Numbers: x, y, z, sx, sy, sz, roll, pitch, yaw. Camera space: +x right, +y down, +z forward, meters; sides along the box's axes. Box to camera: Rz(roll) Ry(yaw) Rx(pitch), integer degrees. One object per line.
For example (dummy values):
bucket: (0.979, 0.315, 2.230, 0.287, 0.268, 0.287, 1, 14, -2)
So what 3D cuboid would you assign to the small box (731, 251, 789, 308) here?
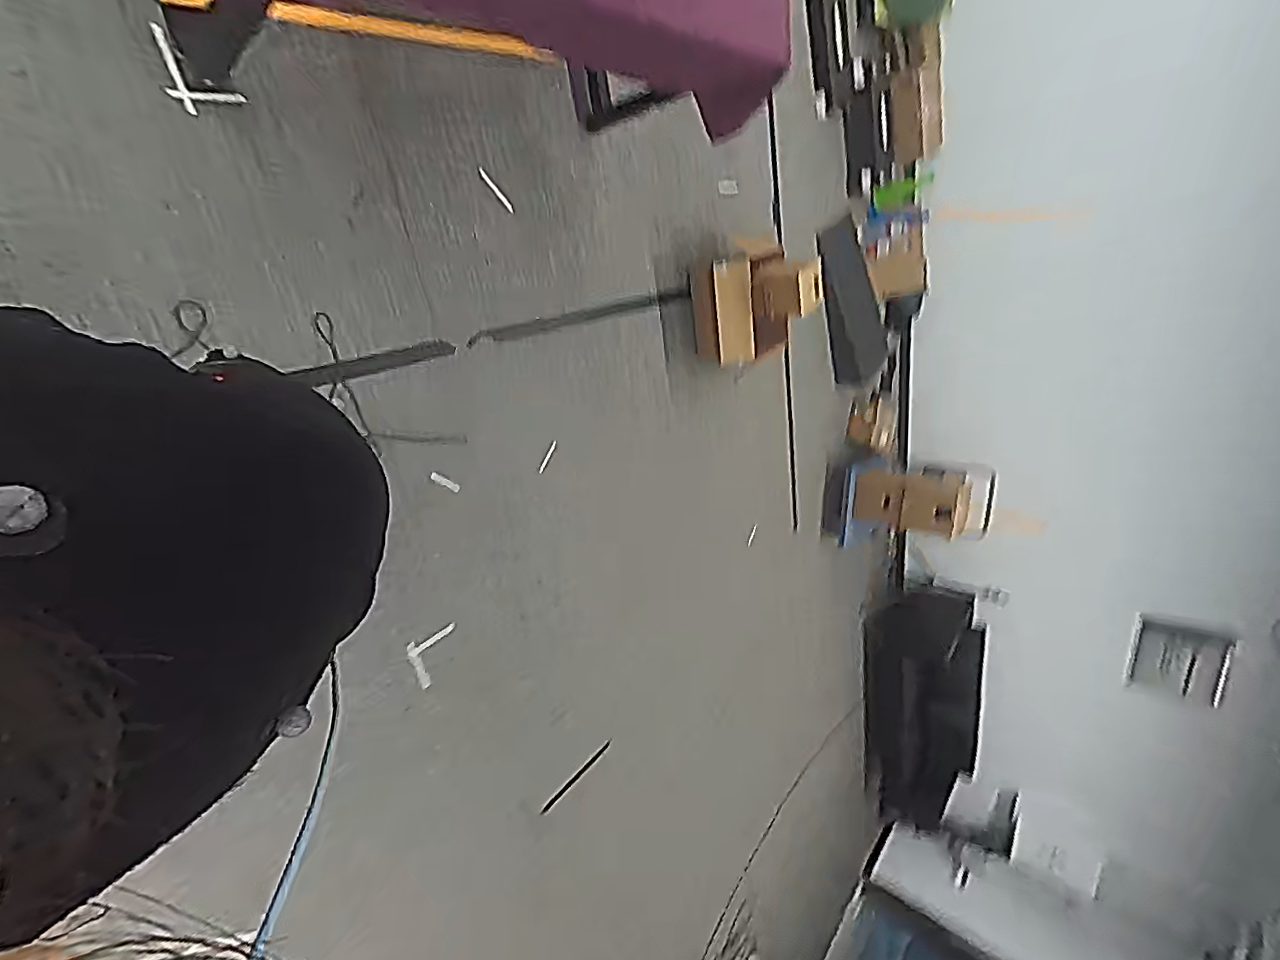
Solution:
small box: (0.510, -0.853, 2.311, 0.168, 0.176, 0.179, -48, 133, -25)
